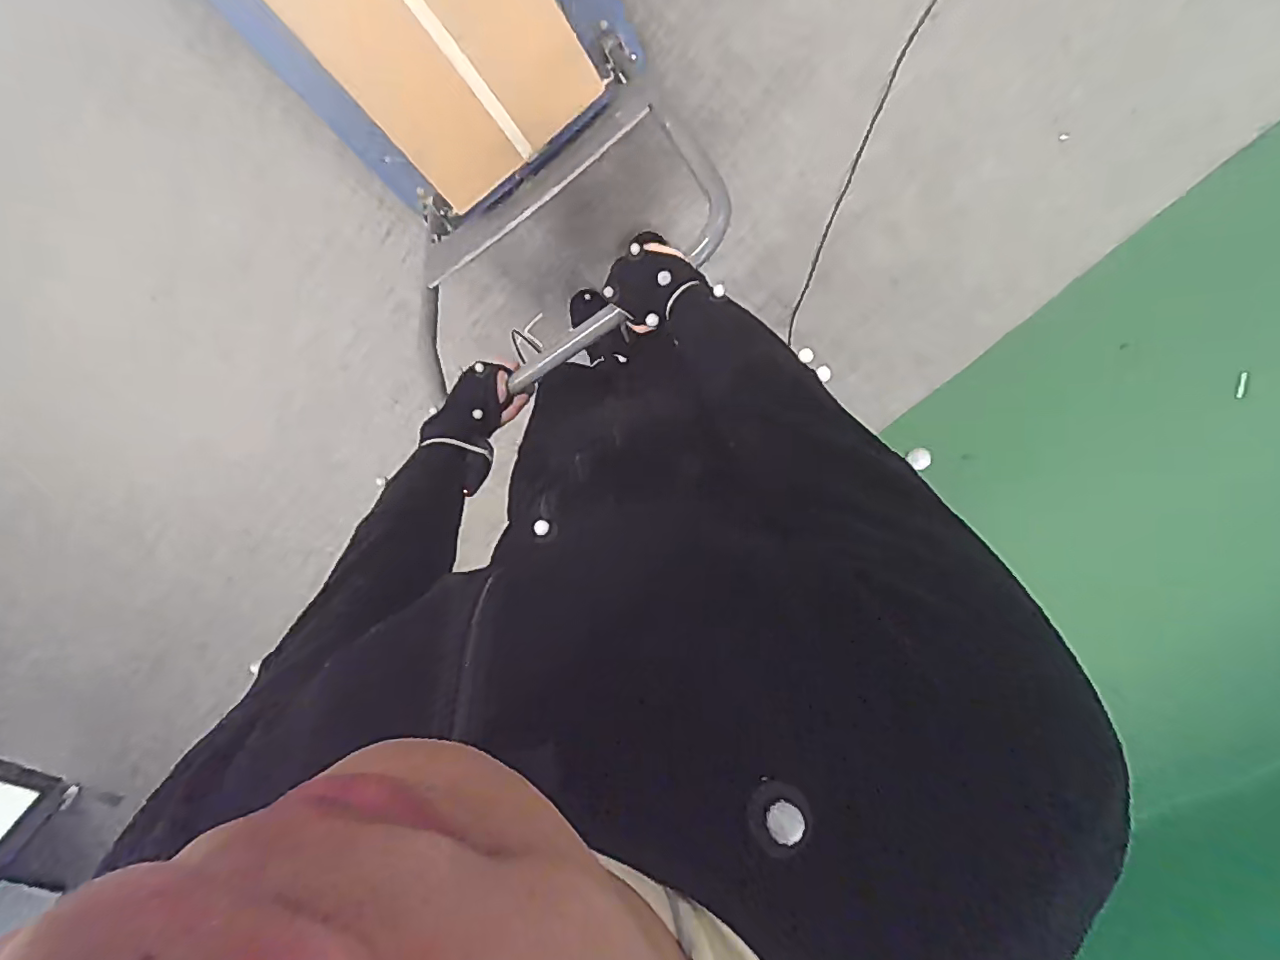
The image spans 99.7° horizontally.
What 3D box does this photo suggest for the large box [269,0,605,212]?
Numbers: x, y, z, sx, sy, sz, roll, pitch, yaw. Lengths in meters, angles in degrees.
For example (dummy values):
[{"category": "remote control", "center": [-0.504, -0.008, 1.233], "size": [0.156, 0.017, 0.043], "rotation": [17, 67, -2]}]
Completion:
[{"category": "large box", "center": [-0.307, -0.742, 0.869], "size": [0.320, 0.320, 0.408], "rotation": [-31, 135, 18]}]
